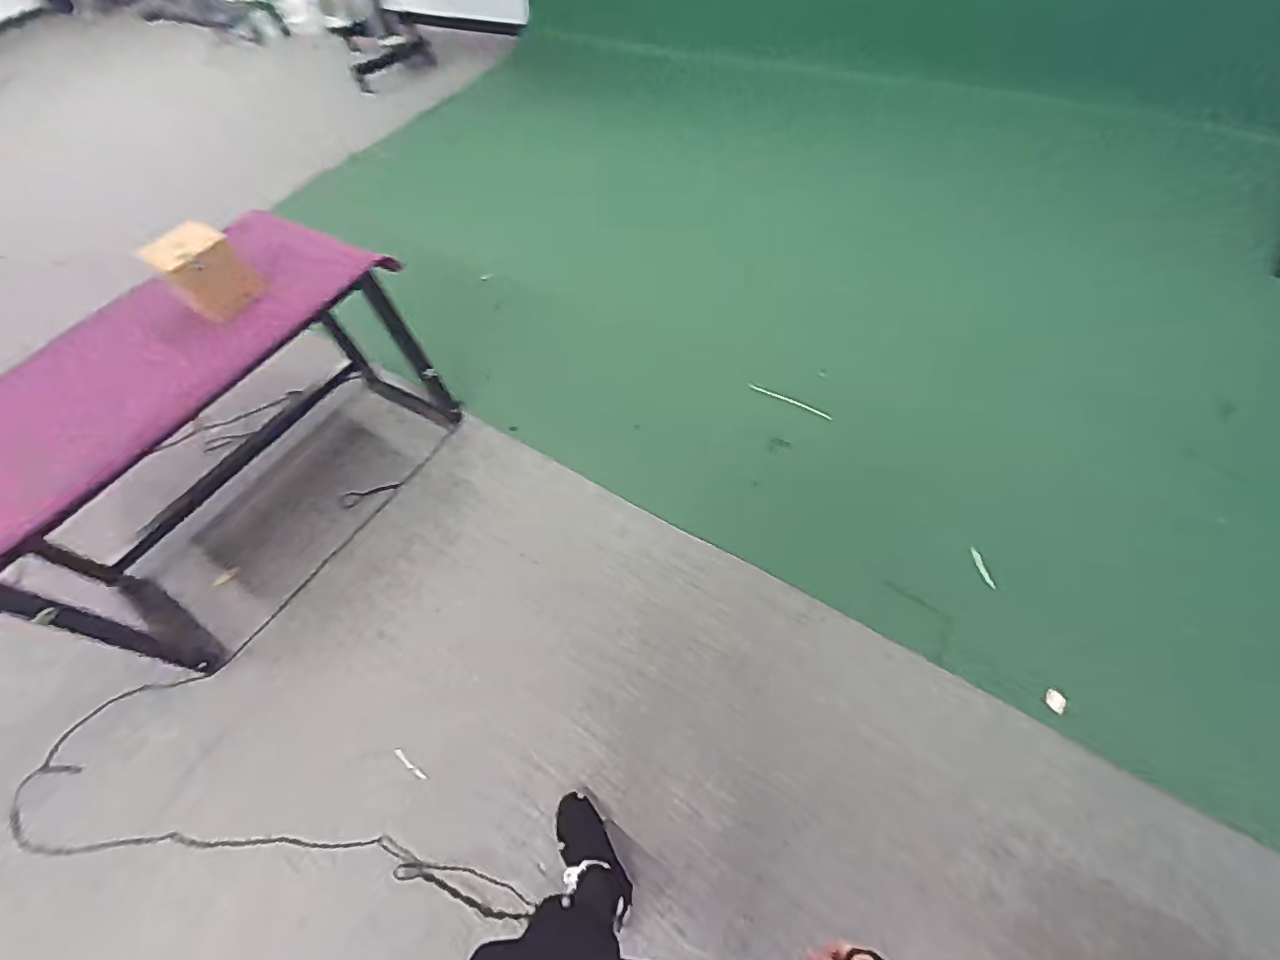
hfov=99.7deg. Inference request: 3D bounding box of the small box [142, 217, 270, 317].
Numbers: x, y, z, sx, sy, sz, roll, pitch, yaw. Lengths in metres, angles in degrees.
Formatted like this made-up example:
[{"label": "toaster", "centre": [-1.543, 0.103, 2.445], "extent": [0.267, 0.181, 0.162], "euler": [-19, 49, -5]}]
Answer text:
[{"label": "small box", "centre": [-1.151, -0.564, 1.444], "extent": [0.179, 0.176, 0.168], "euler": [29, 66, 24]}]
